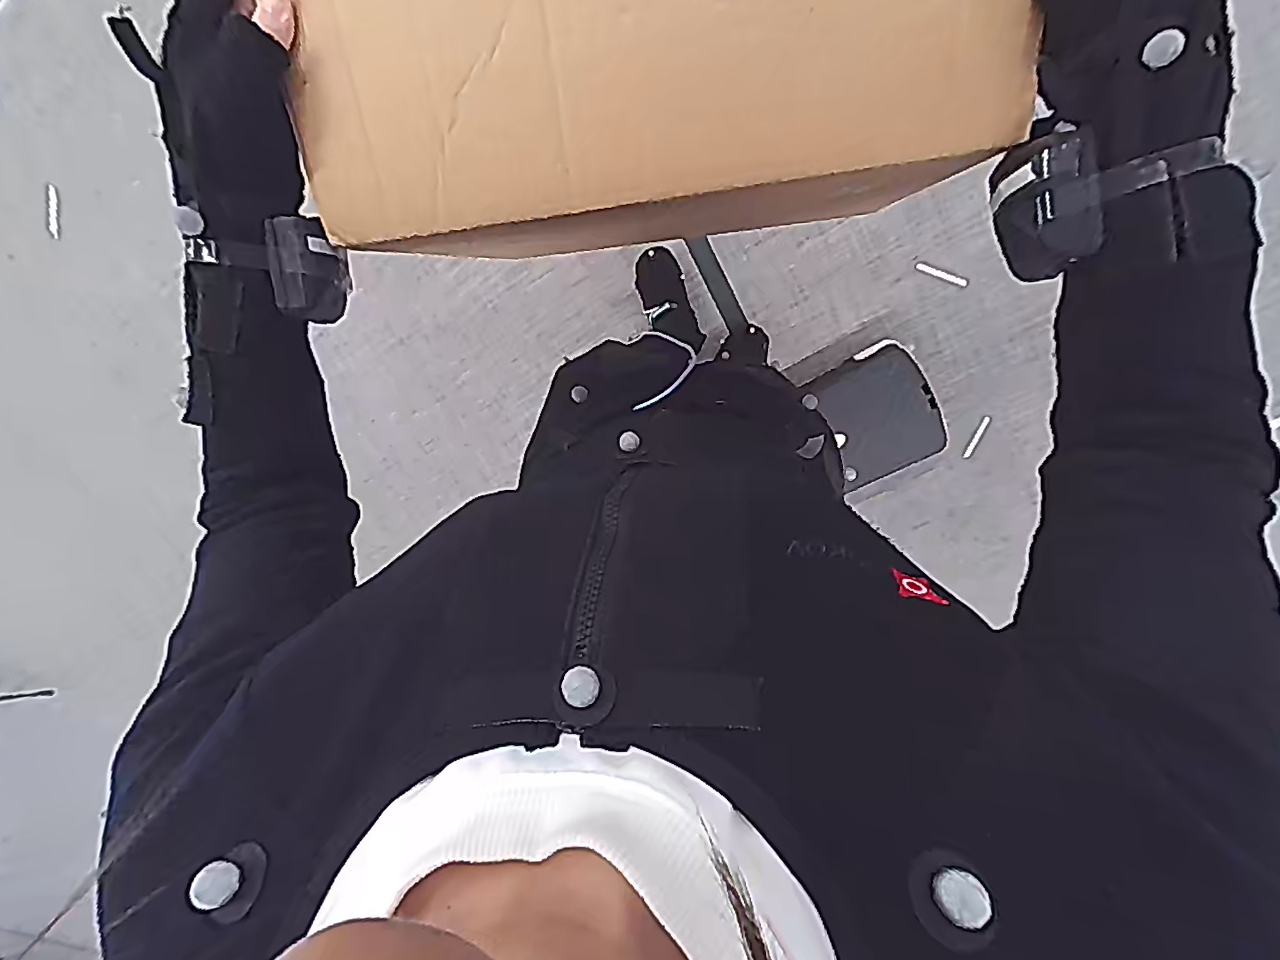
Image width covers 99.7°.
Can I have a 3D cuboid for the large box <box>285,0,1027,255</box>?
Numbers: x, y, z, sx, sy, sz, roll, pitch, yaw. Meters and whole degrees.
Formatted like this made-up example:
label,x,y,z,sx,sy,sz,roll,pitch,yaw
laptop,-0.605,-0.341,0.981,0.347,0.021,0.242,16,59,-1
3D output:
label,x,y,z,sx,sy,sz,roll,pitch,yaw
large box,0.006,-0.369,0.409,0.408,0.320,0.320,-4,111,11
